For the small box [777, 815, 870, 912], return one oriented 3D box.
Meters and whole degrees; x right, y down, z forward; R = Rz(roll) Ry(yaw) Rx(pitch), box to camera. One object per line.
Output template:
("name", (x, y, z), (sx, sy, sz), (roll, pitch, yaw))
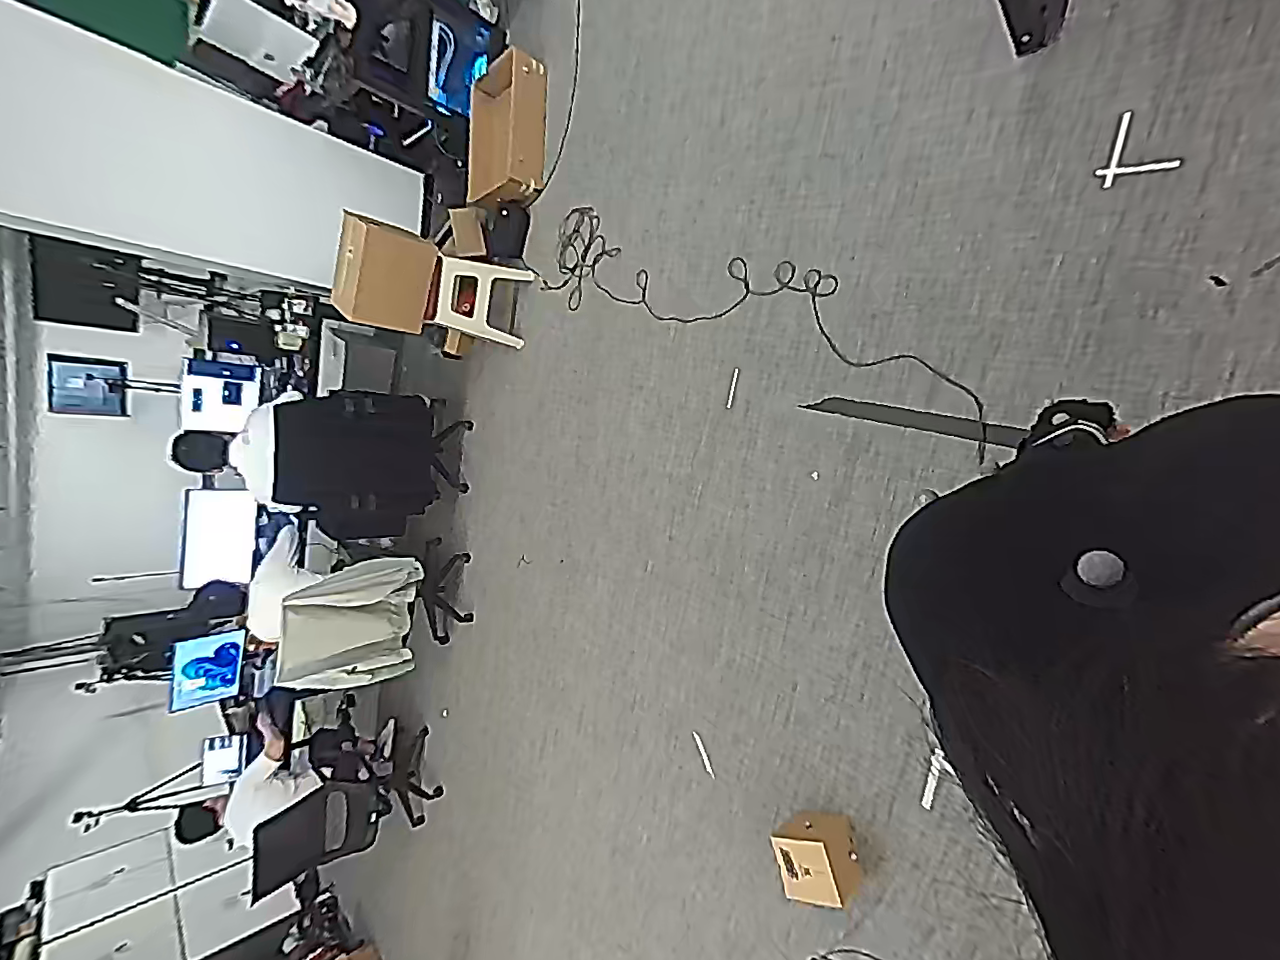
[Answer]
("small box", (0.530, 1.093, 1.559), (0.179, 0.176, 0.168), (-26, 72, 40))
